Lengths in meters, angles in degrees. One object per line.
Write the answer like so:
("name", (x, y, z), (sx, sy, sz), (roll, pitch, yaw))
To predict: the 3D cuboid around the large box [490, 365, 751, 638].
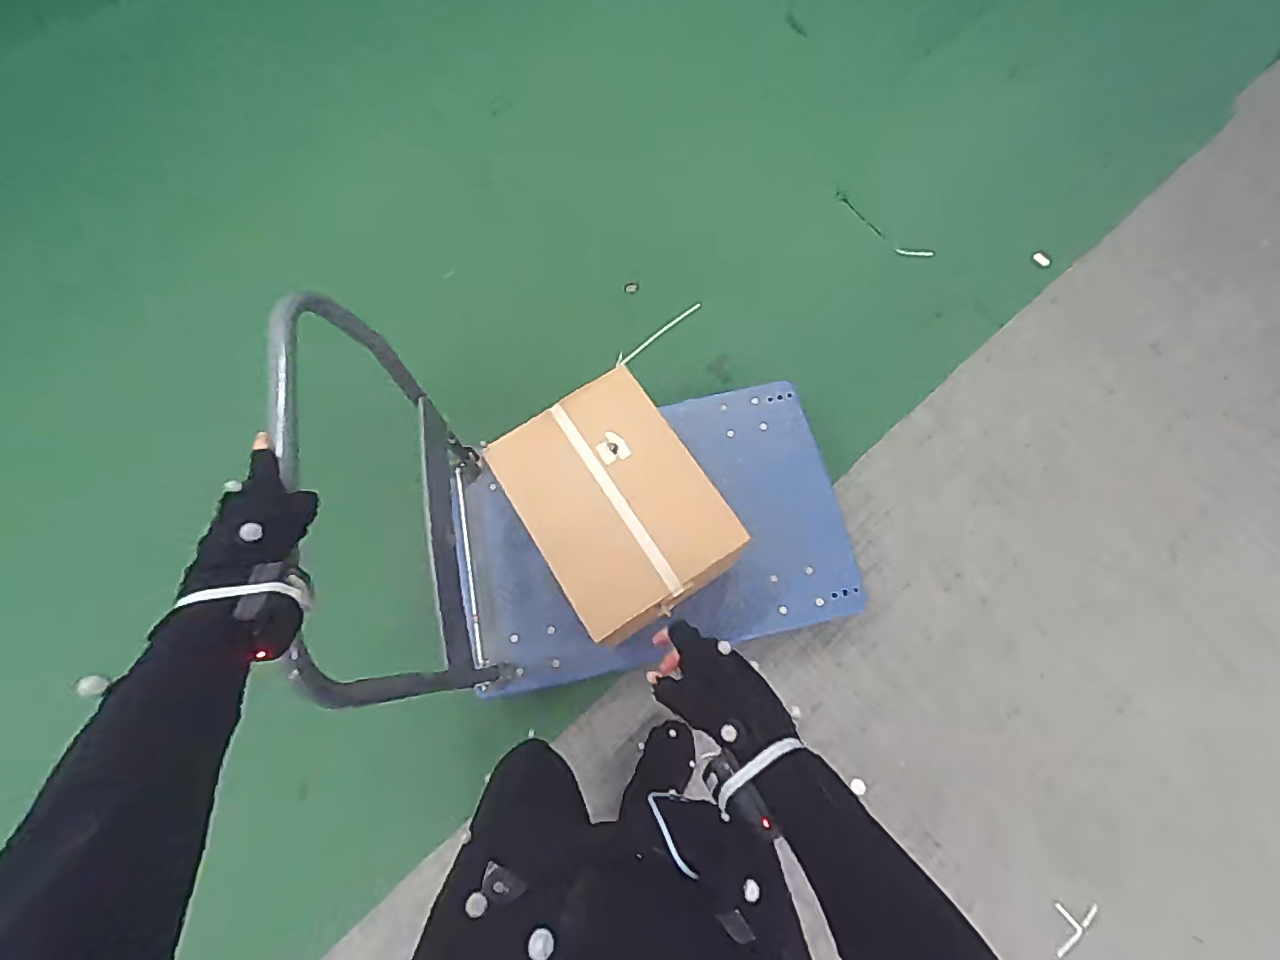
("large box", (-0.032, 0.061, 1.090), (0.320, 0.320, 0.408), (-32, 73, -7))
